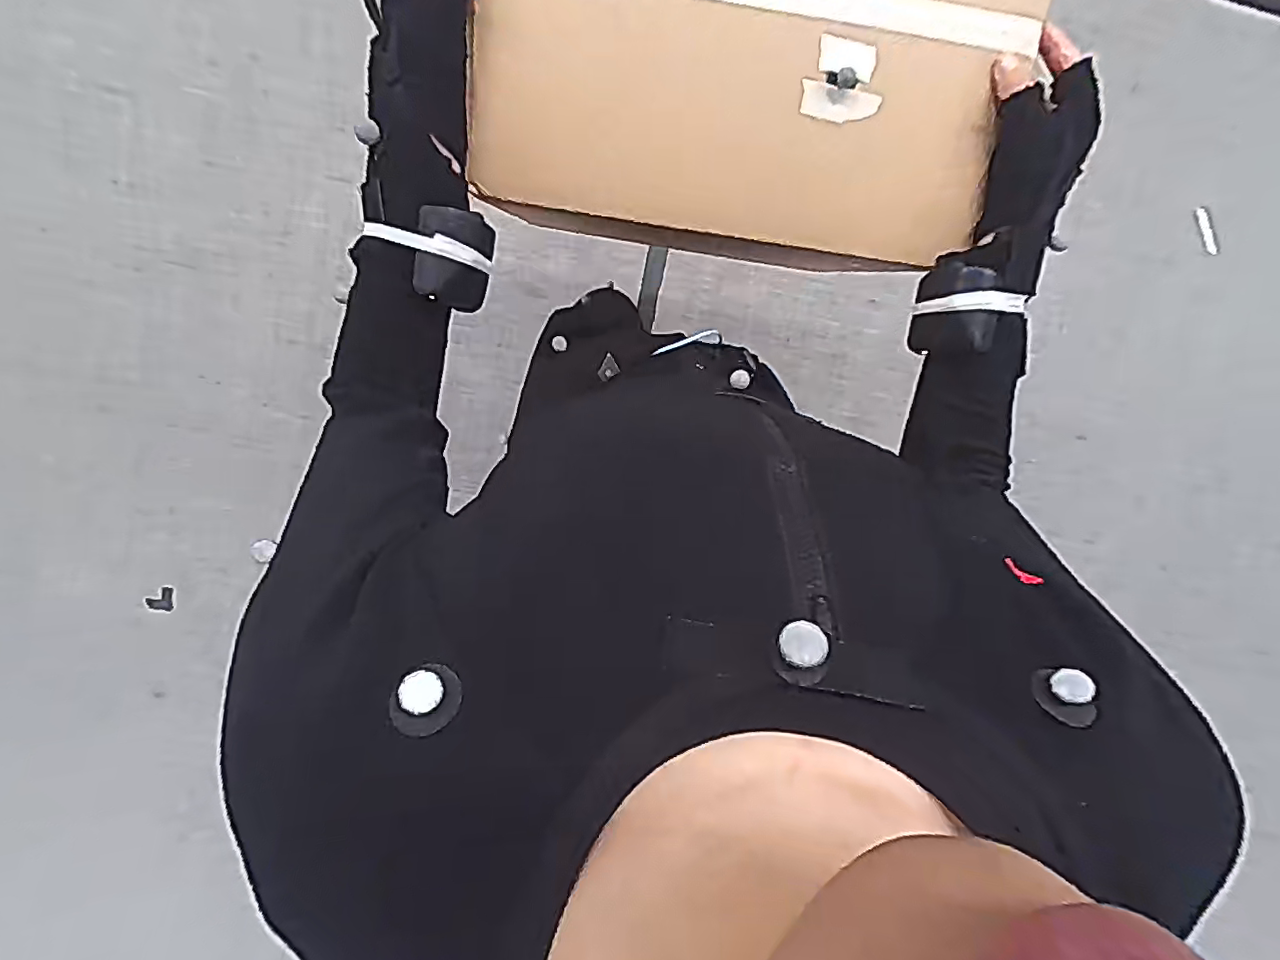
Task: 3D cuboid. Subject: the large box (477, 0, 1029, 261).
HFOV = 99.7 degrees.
[{"bbox_3d":[0.078,-0.405,0.528,0.408,0.320,0.320,7,112,-5],"label":"large box"}]
